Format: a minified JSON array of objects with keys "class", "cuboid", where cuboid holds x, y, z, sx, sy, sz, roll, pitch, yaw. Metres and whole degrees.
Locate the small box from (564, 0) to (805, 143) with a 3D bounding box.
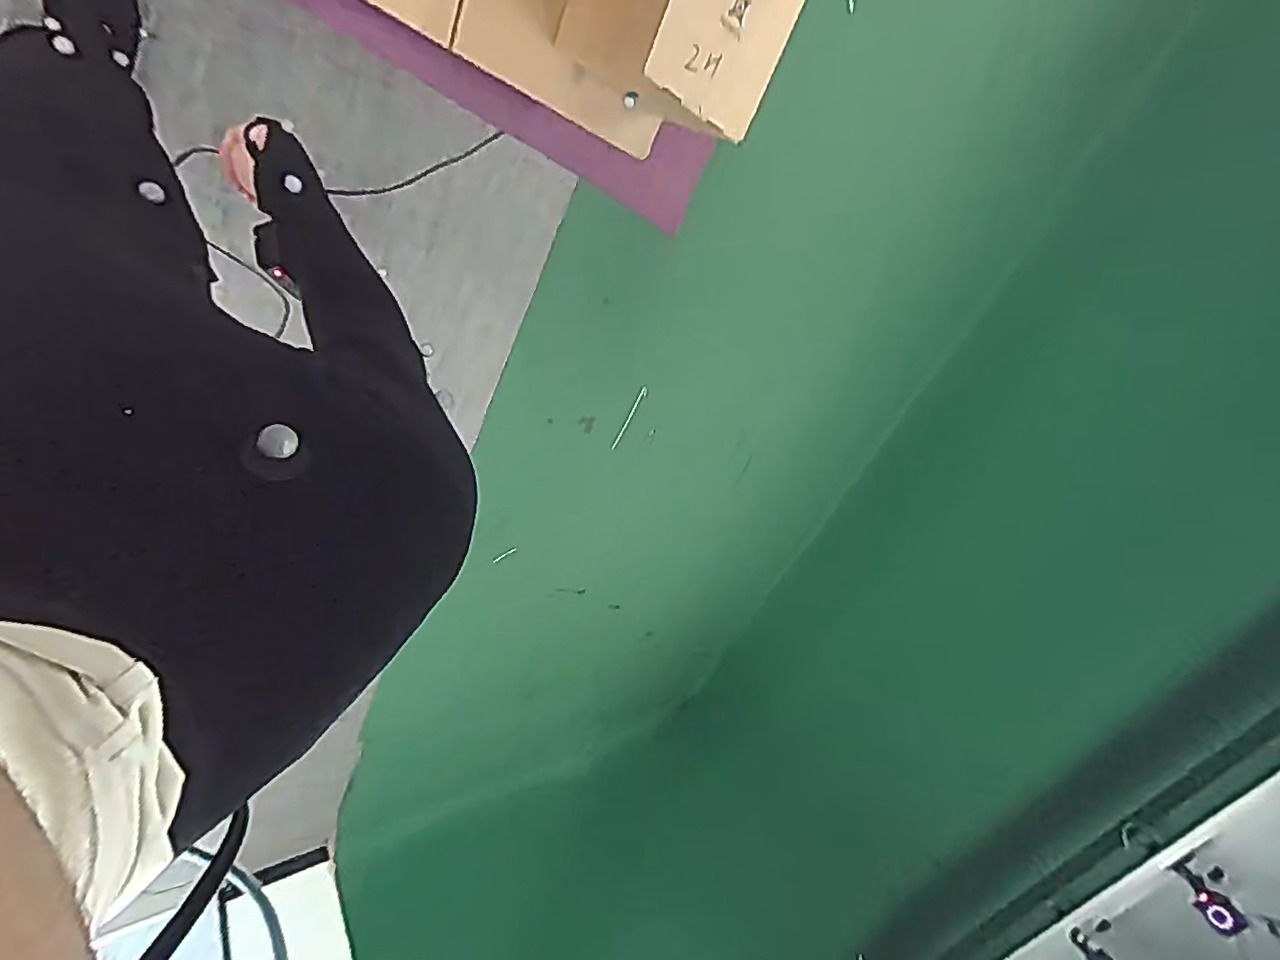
[{"class":"small box","cuboid":[0.045,-0.503,0.574,0.168,0.176,0.179,-2,127,-46]}]
